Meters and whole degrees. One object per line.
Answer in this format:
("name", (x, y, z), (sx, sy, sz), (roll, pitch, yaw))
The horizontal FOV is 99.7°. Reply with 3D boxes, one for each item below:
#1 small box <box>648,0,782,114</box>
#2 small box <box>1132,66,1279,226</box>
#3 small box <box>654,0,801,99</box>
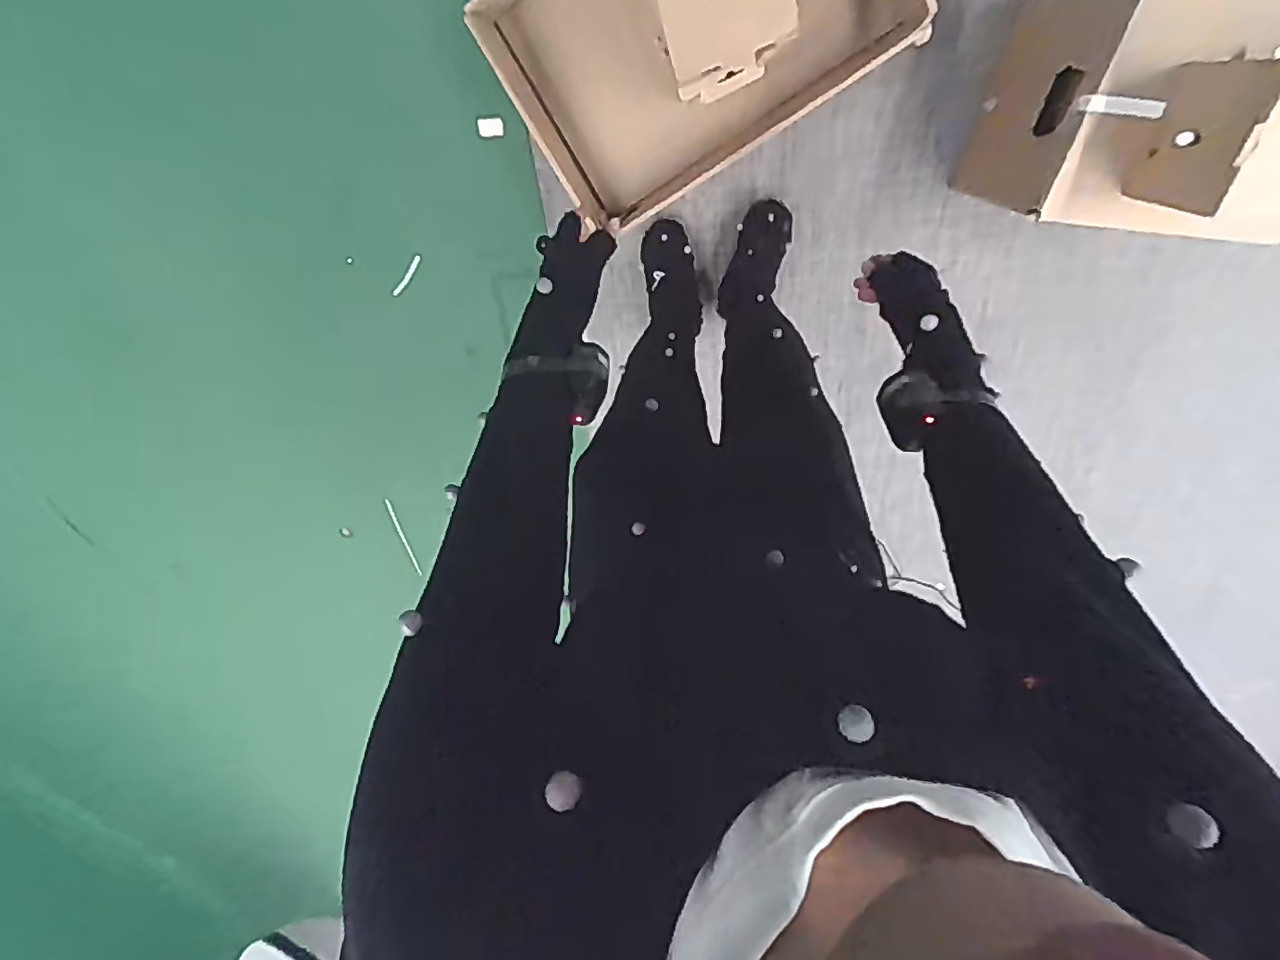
("small box", (0.120, -0.724, 0.870), (0.168, 0.176, 0.179), (-18, 120, 17))
("small box", (0.820, -0.437, 0.709), (0.179, 0.176, 0.168), (2, 126, 3))
("small box", (0.108, -0.645, 0.730), (0.168, 0.176, 0.179), (-15, 120, 14))
